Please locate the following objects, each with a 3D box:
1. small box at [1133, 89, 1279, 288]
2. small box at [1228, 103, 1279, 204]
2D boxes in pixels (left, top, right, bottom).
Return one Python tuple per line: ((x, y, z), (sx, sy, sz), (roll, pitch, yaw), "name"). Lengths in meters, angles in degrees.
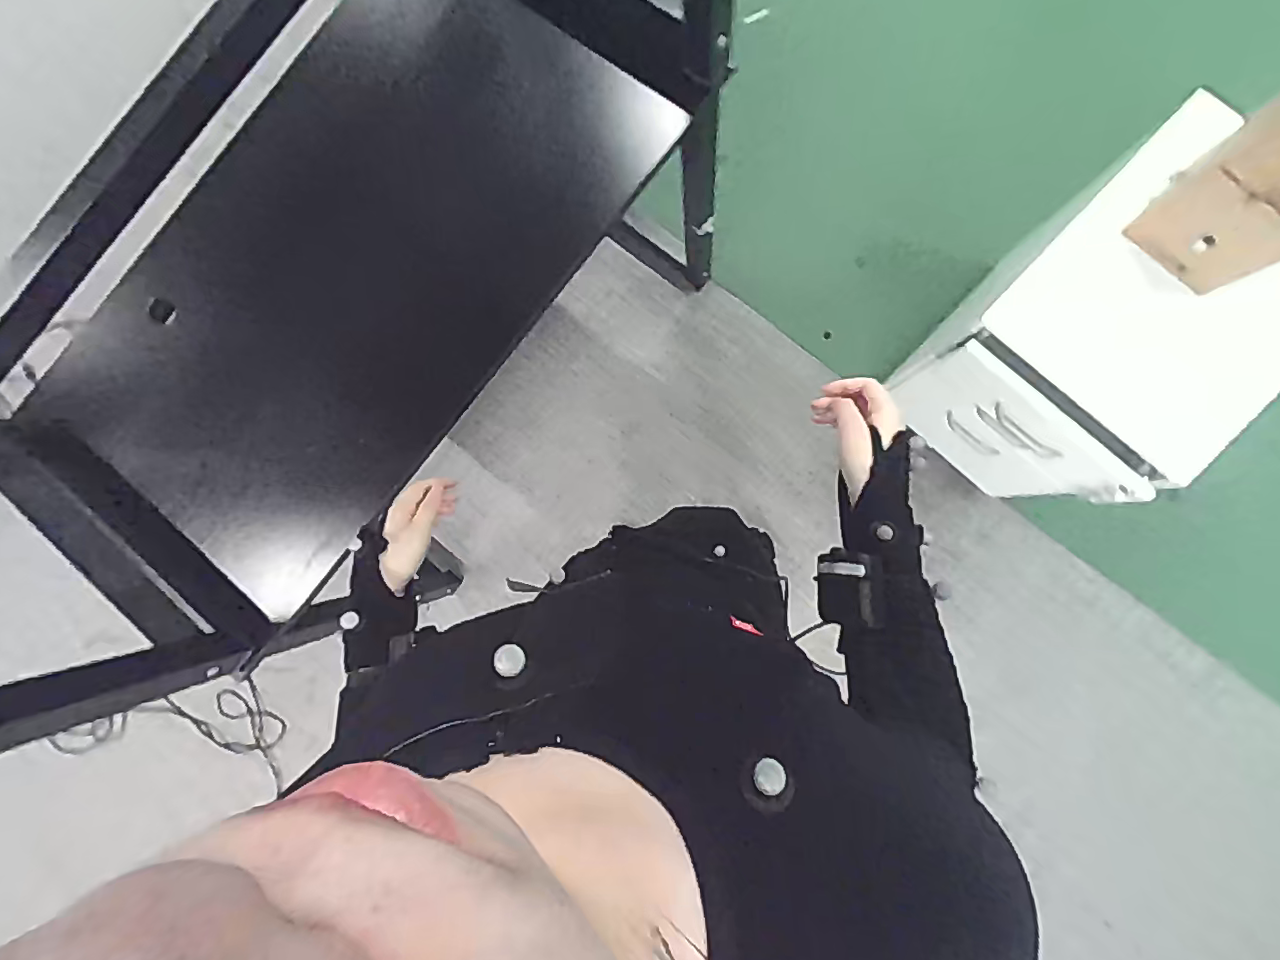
((0.867, -0.409, 0.765), (0.168, 0.176, 0.179), (44, 92, 6), "small box")
((0.851, -0.414, 0.603), (0.168, 0.176, 0.179), (-44, 84, 2), "small box")
